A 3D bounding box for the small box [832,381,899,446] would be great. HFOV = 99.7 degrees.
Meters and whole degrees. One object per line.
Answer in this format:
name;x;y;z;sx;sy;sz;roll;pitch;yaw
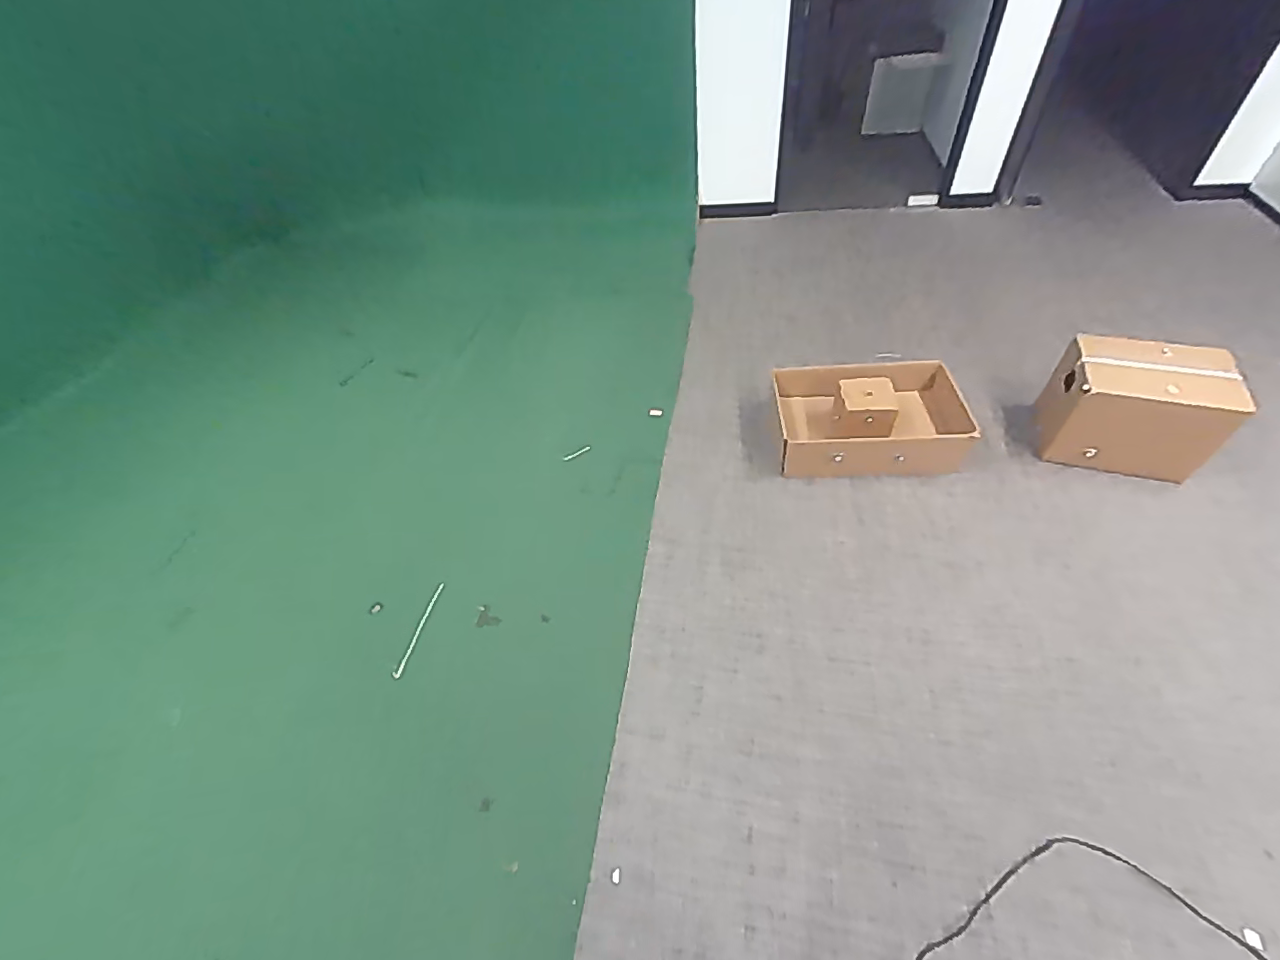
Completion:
small box;0.792;-0.235;1.923;0.179;0.176;0.168;0;49;6
